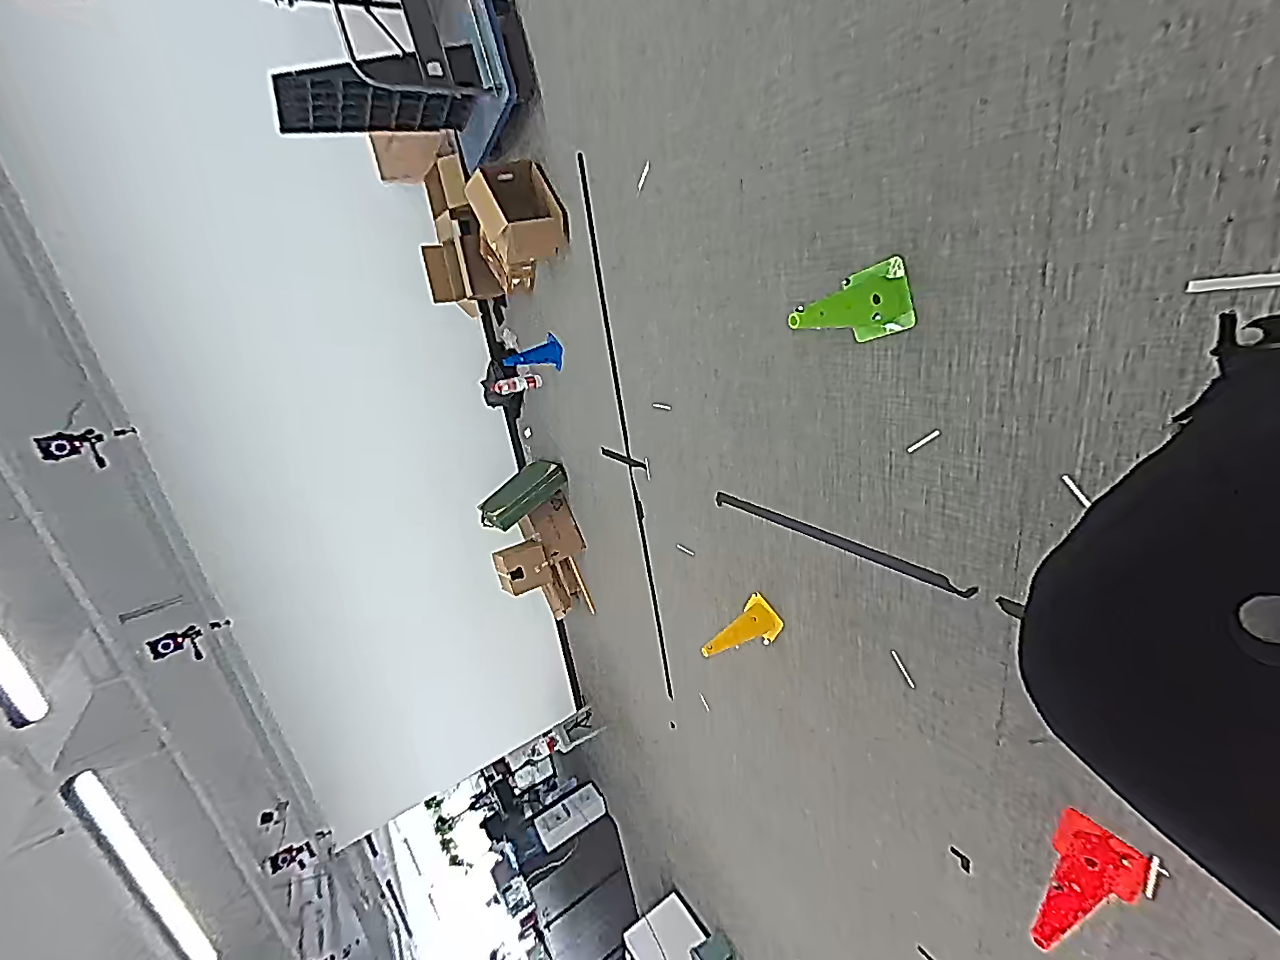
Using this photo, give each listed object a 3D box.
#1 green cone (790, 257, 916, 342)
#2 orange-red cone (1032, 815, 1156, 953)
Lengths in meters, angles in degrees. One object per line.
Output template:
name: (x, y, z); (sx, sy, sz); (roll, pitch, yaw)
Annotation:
green cone: (0.548, -0.463, 1.482); (0.202, 0.368, 0.200); (-5, 103, 61)
orange-red cone: (1.148, 1.114, 1.433); (0.199, 0.360, 0.198); (33, 135, 51)
